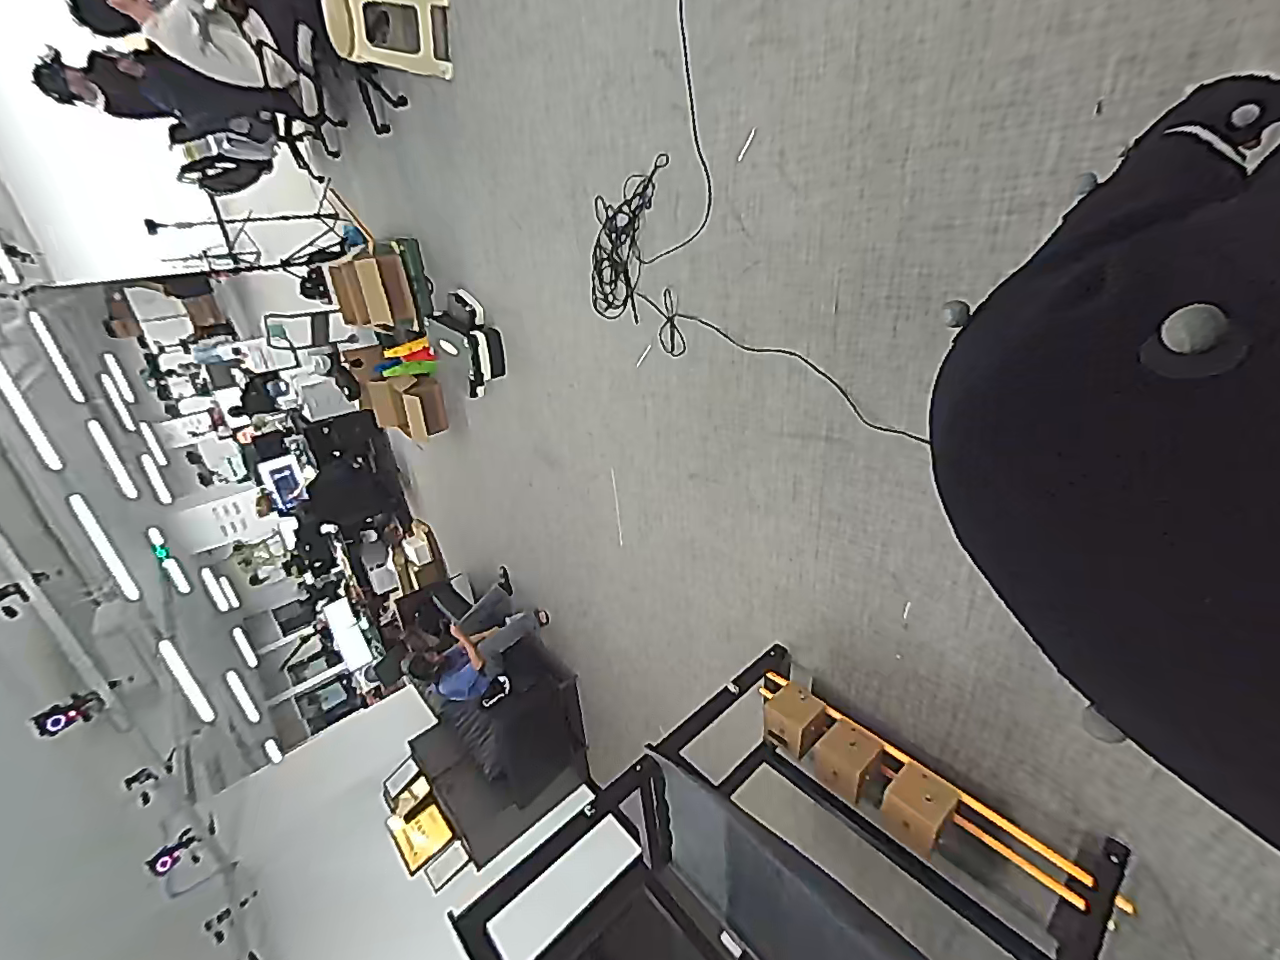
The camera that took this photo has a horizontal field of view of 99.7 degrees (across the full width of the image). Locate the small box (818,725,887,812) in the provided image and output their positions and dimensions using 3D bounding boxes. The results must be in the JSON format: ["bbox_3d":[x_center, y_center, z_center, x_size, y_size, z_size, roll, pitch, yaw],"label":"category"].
[{"bbox_3d":[0.755,1.014,1.917,0.168,0.176,0.179,23,126,45],"label":"small box"}]

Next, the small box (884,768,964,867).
[{"bbox_3d":[0.917,1.077,1.742,0.168,0.176,0.179,25,127,45],"label":"small box"}]
